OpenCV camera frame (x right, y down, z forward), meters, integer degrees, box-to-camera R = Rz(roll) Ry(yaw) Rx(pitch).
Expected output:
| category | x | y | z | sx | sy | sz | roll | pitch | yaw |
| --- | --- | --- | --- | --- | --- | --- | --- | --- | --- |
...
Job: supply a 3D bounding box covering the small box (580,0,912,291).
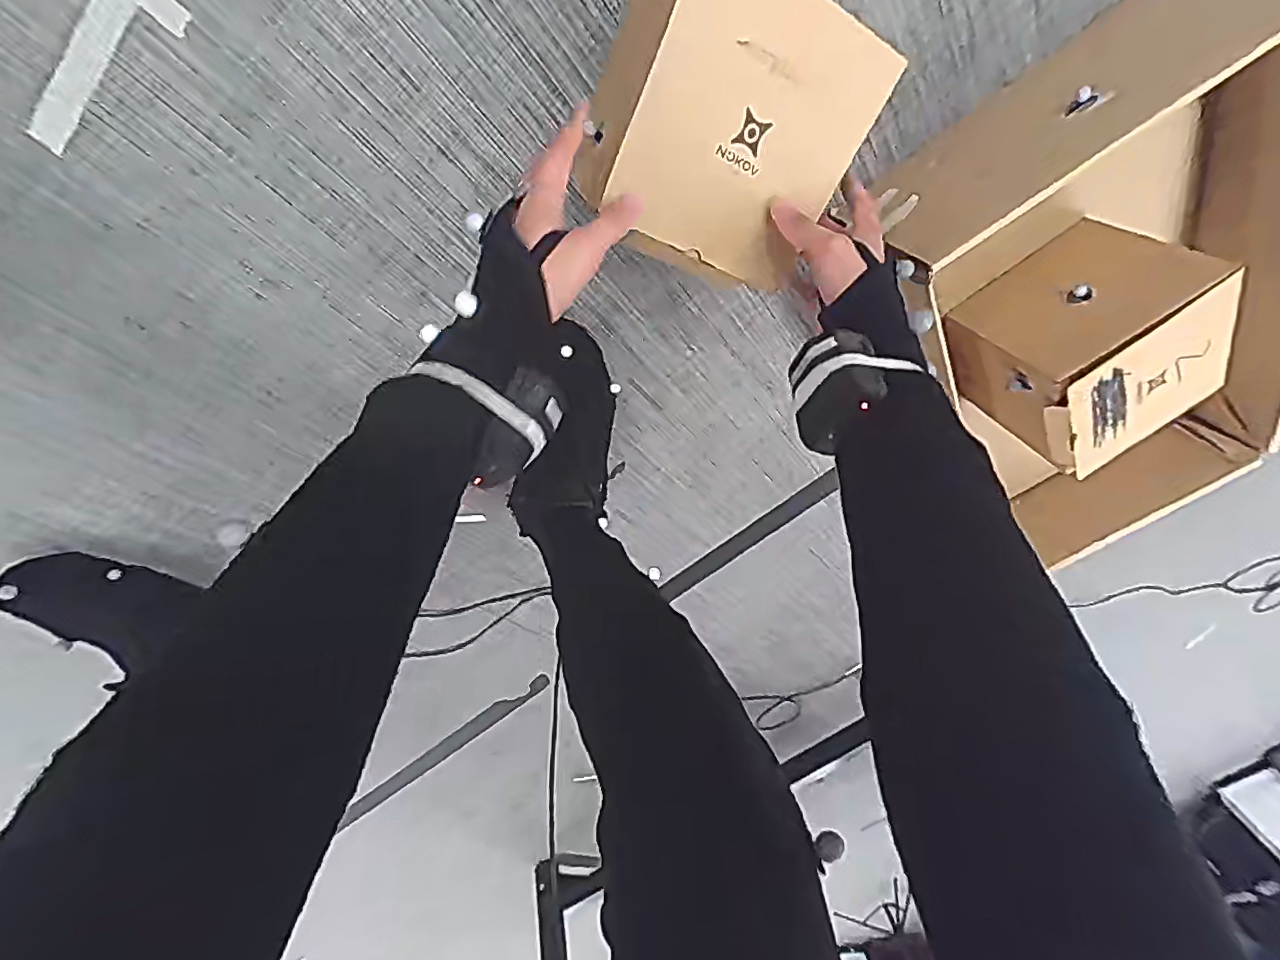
| category | x | y | z | sx | sy | sz | roll | pitch | yaw |
| --- | --- | --- | --- | --- | --- | --- | --- | --- | --- |
| small box | 0.060 | -0.287 | 0.430 | 0.168 | 0.176 | 0.179 | 14 | 122 | -25 |
